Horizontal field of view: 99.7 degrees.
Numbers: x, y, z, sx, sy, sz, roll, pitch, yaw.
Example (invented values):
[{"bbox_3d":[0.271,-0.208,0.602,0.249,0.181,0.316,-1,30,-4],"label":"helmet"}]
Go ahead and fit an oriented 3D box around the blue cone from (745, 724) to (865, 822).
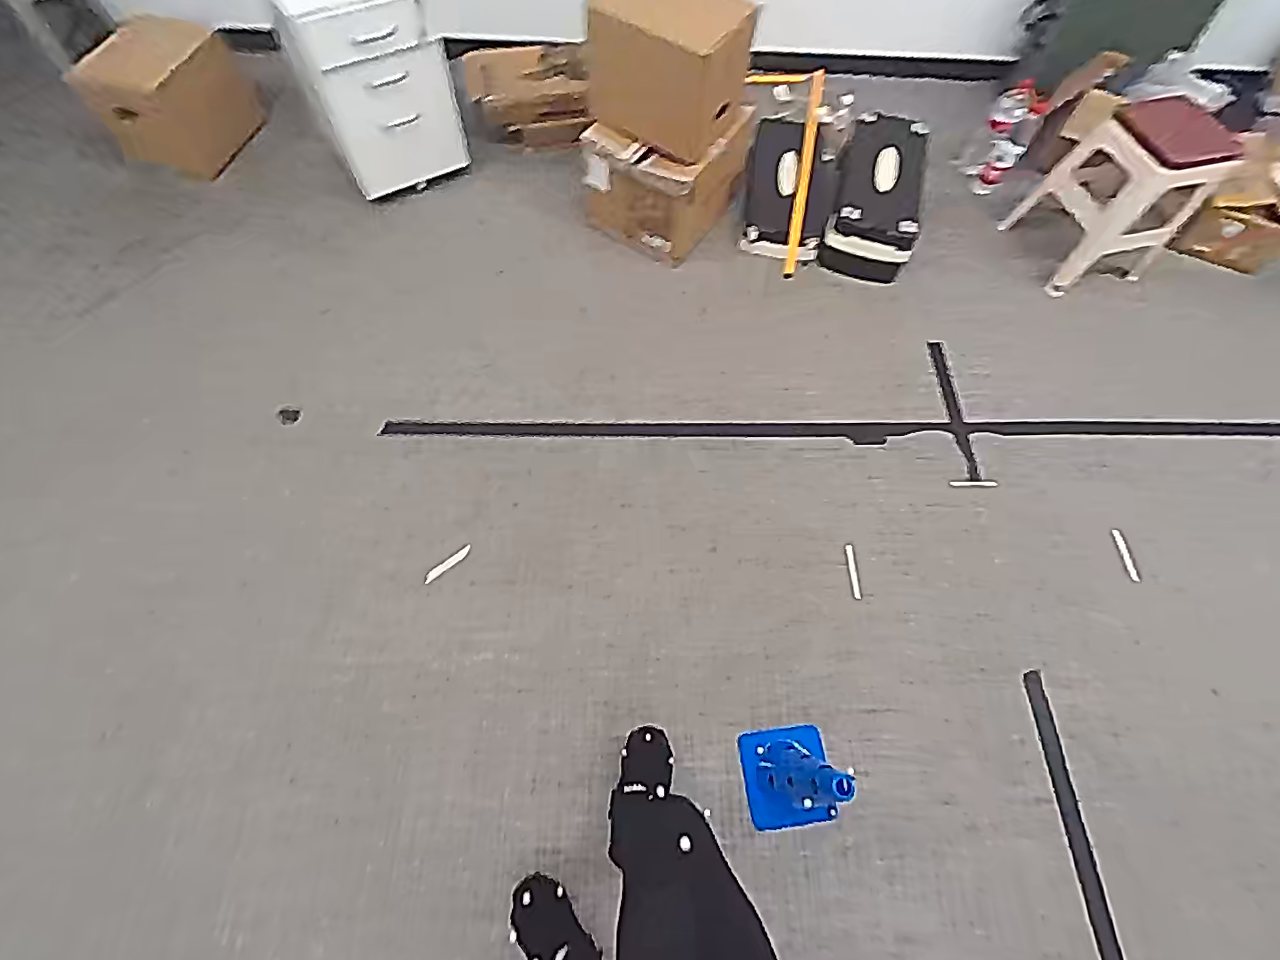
[{"bbox_3d":[0.351,0.600,1.095,0.192,0.380,0.193,-4,64,-5],"label":"blue cone"}]
